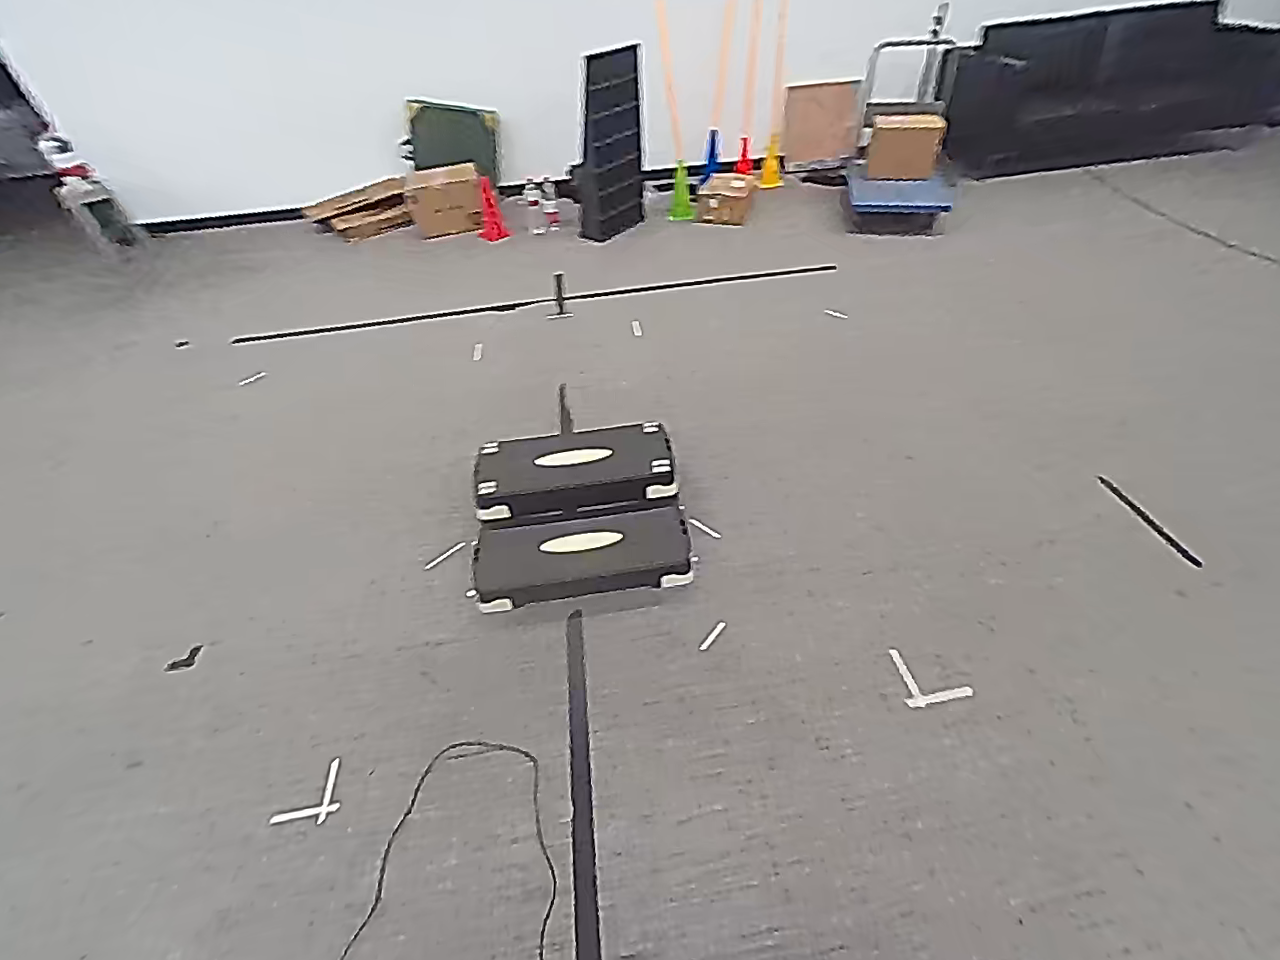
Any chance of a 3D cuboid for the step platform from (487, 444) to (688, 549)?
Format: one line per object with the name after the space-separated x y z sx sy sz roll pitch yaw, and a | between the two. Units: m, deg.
-0.177 0.049 1.877 0.684 0.204 0.286 -4 43 0 | step platform
